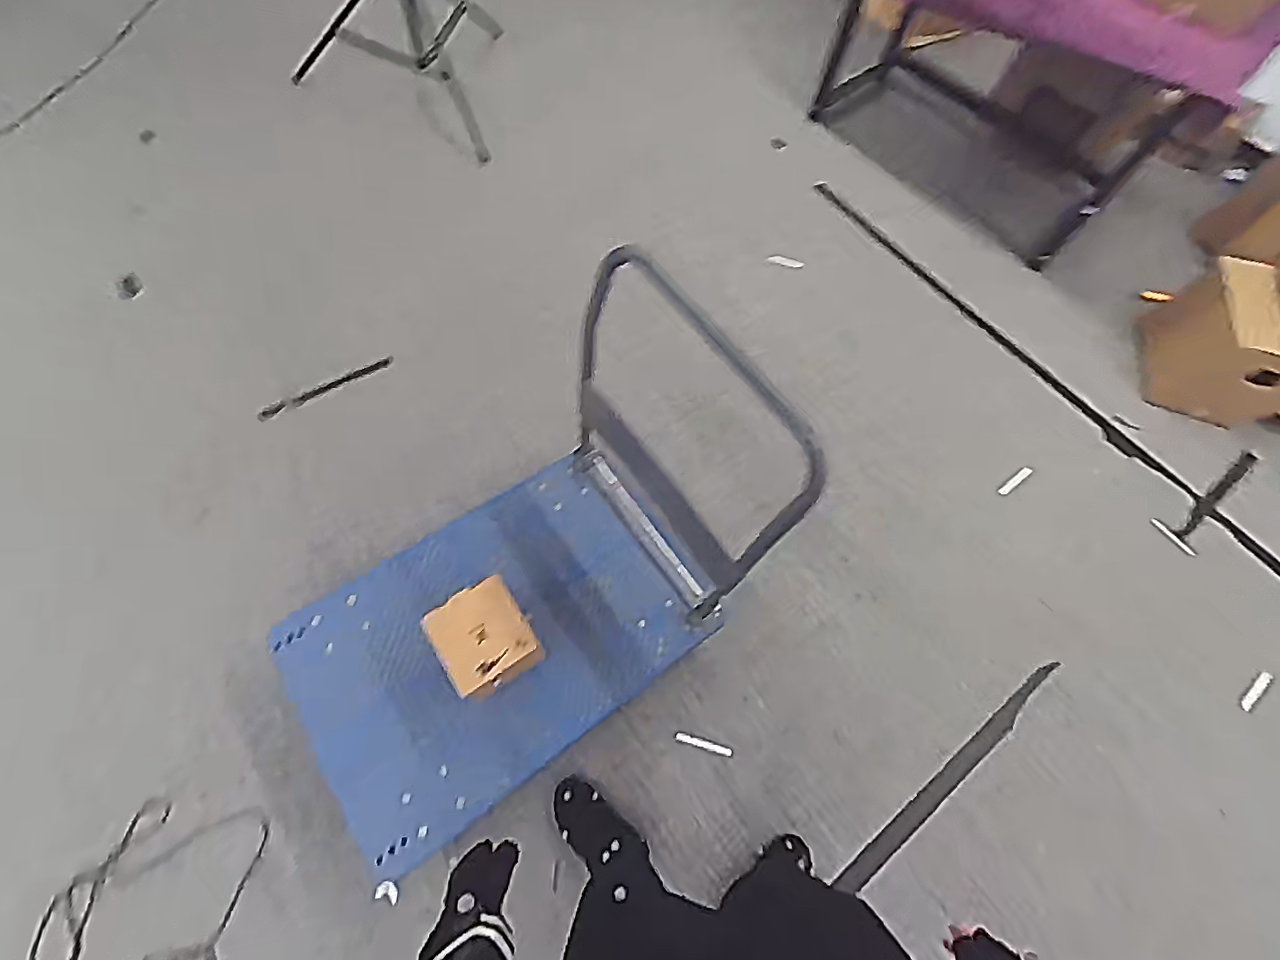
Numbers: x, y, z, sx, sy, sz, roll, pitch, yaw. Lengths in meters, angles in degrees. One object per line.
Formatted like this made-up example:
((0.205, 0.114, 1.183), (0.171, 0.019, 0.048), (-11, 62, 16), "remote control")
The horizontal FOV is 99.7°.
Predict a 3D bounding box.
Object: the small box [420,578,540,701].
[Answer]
((-0.324, 0.336, 1.122), (0.168, 0.176, 0.179), (-31, 70, -18), "small box")
